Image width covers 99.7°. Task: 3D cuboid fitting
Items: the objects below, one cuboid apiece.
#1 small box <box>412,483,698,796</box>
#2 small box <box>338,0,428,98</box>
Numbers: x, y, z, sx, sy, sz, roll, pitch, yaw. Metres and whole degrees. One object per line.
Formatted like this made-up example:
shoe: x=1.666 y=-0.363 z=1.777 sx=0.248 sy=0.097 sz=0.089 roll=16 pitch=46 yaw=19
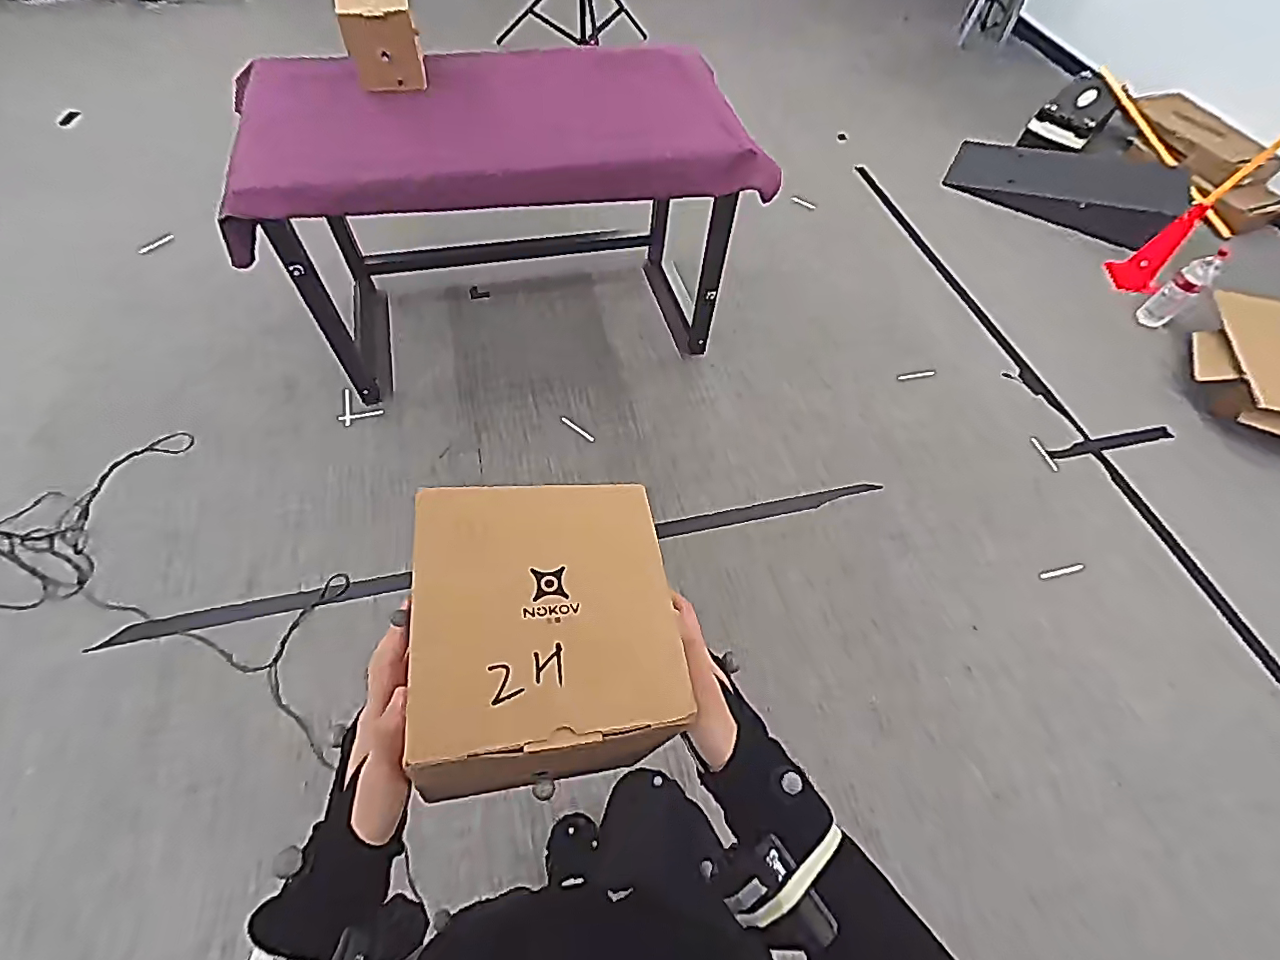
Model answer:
small box: x=-0.076 y=0.120 z=0.413 sx=0.168 sy=0.176 sz=0.179 roll=-1 pitch=55 yaw=-17
small box: x=-0.650 y=-1.103 z=1.376 sx=0.168 sy=0.176 sz=0.179 roll=-11 pitch=62 yaw=-11
